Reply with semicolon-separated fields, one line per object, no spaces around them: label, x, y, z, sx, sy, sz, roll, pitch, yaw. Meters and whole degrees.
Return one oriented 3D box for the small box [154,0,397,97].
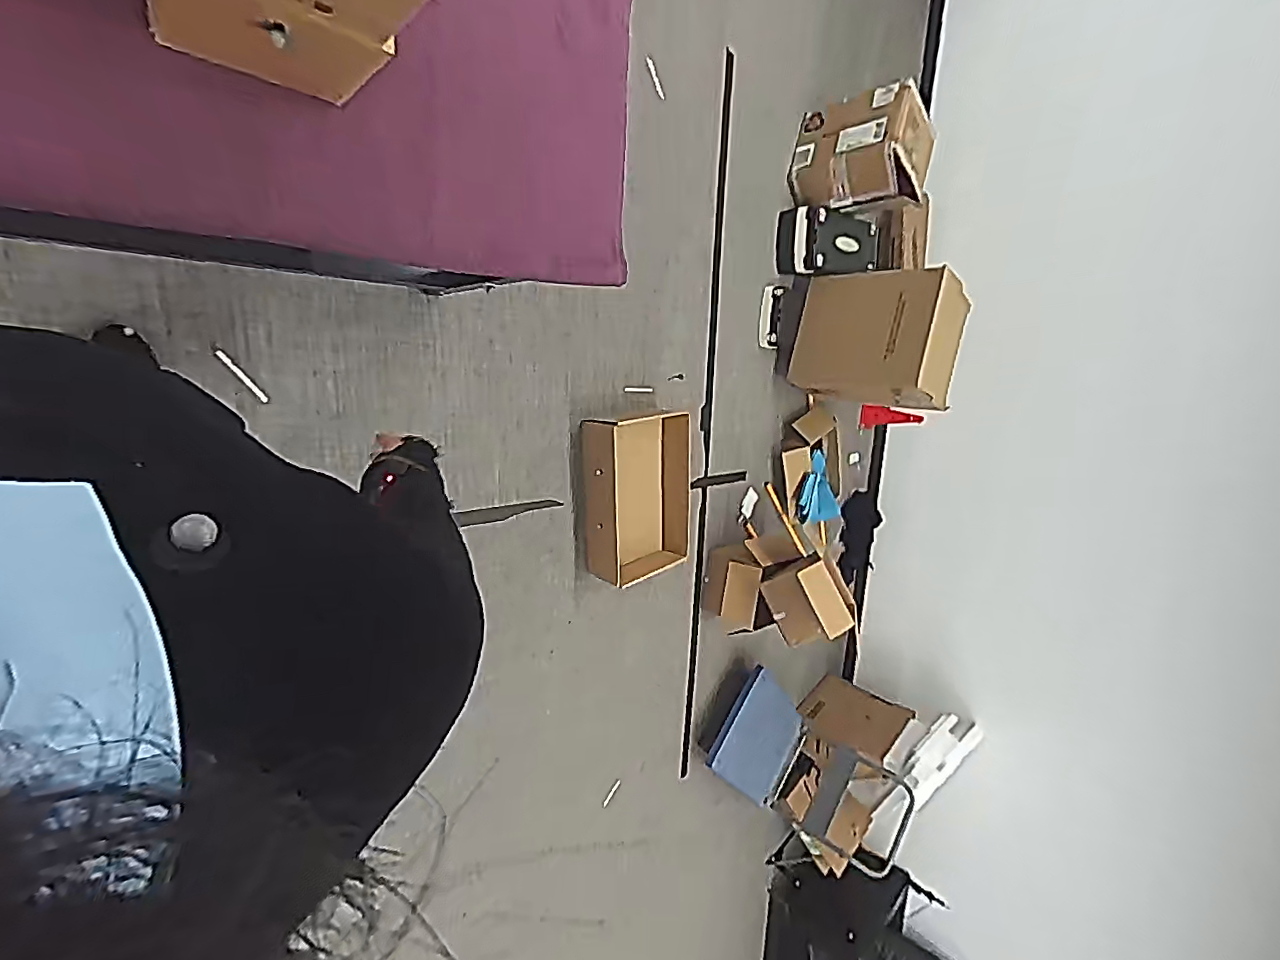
small box;-0.362;-0.516;0.535;0.179;0.176;0.168;-8;106;-44

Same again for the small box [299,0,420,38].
small box;-0.251;-0.495;0.415;0.168;0.176;0.179;-8;105;-44
